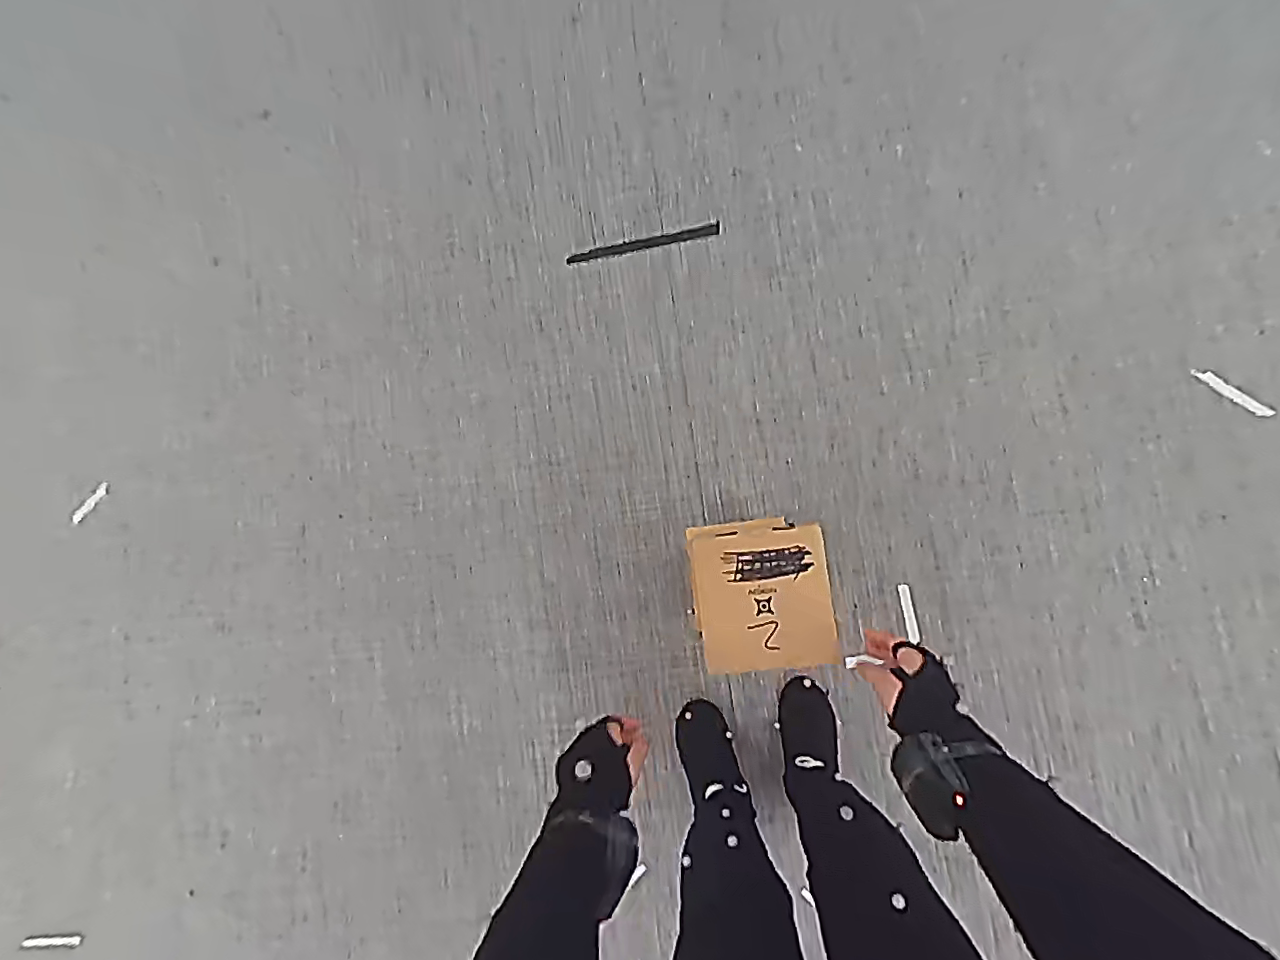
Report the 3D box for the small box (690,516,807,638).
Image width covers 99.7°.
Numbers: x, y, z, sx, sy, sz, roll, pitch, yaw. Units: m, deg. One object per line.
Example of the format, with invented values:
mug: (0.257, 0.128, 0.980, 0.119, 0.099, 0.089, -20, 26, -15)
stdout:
small box: (0.175, 0.161, 0.921, 0.168, 0.176, 0.179, -7, 83, 6)
